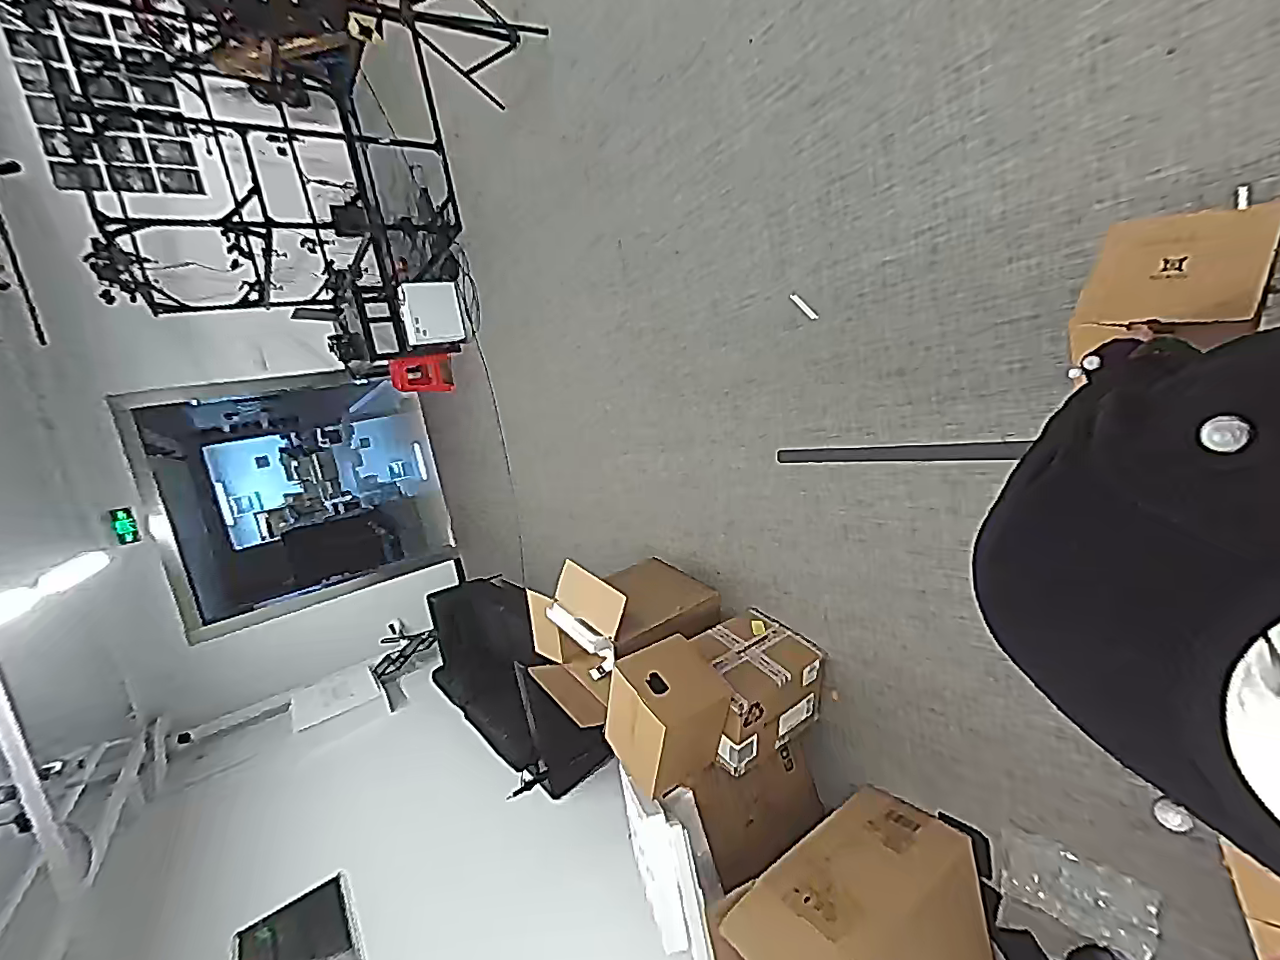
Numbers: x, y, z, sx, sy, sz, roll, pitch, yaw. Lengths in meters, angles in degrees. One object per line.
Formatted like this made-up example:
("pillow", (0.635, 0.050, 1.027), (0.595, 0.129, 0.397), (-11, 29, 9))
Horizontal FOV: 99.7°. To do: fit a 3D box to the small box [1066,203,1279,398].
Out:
("small box", (0.703, -0.229, 0.726), (0.168, 0.176, 0.179), (17, 75, 45))
